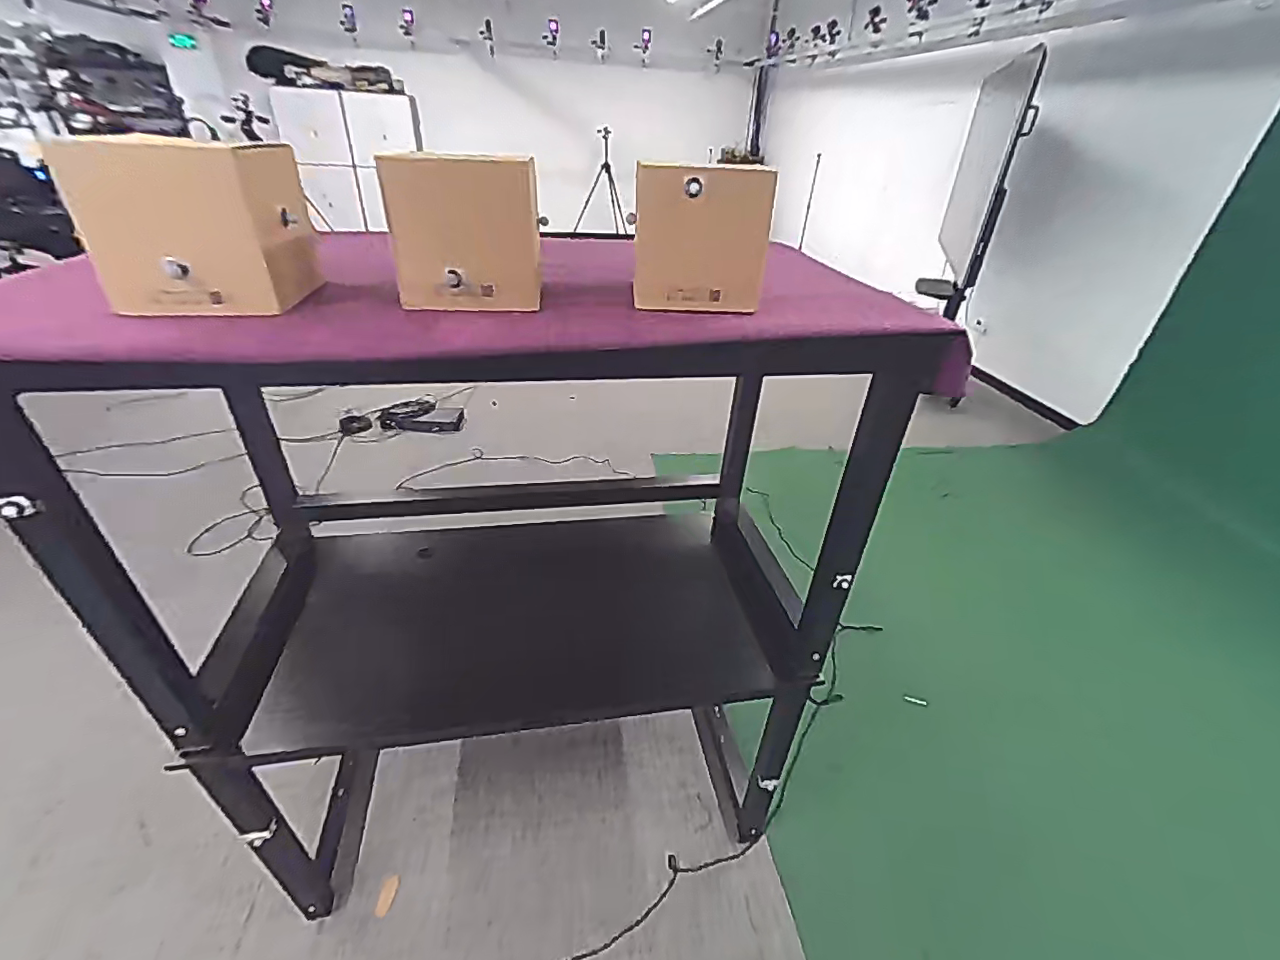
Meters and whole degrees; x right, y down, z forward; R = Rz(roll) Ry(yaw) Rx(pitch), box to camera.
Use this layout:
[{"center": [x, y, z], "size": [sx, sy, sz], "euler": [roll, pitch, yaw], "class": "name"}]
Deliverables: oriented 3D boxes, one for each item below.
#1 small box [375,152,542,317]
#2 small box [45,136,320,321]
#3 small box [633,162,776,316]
[{"center": [-0.217, -0.319, 0.698], "size": [0.168, 0.176, 0.179], "euler": [-2, 33, -7], "class": "small box"}, {"center": [-0.499, -0.295, 0.631], "size": [0.168, 0.176, 0.179], "euler": [-4, 34, -10], "class": "small box"}, {"center": [0.075, -0.333, 0.741], "size": [0.168, 0.176, 0.179], "euler": [1, 31, -2], "class": "small box"}]
